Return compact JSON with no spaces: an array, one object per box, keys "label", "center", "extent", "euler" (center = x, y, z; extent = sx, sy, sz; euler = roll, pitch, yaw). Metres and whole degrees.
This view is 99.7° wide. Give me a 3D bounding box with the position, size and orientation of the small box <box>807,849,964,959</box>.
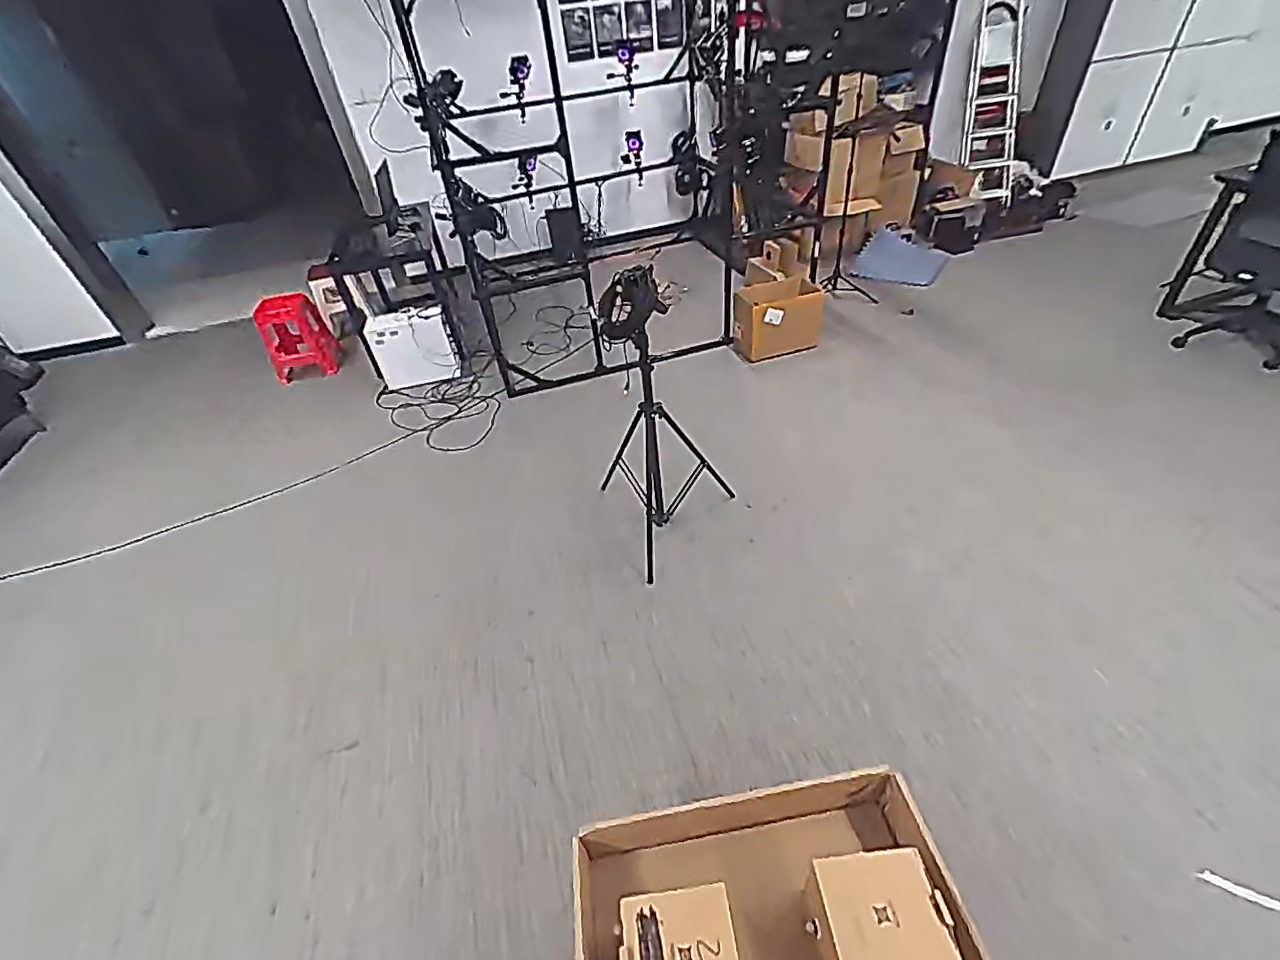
[{"label":"small box","center":[0.384,0.724,0.873],"extent":[0.179,0.176,0.168],"euler":[-8,38,1]}]
